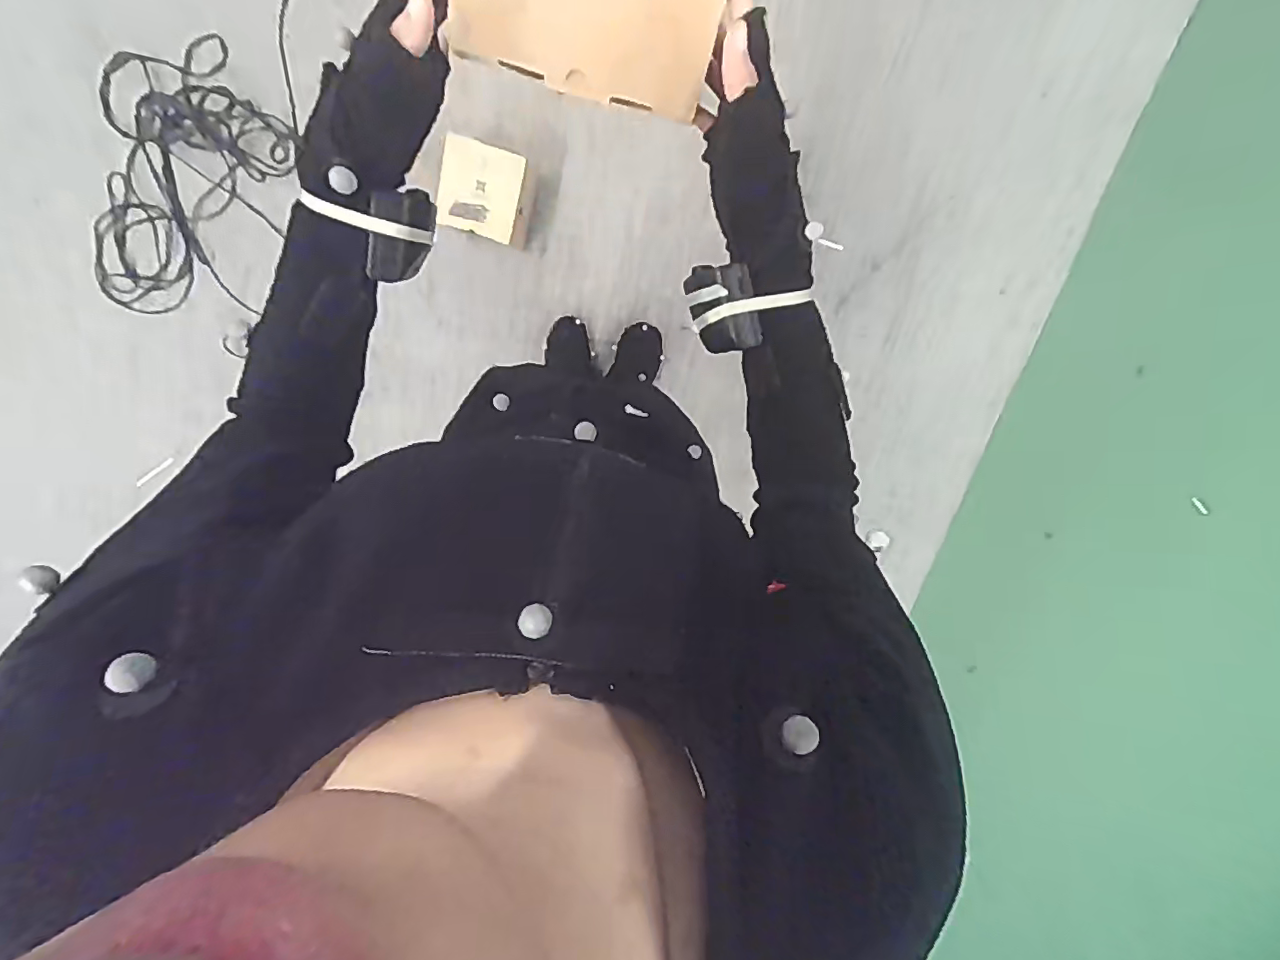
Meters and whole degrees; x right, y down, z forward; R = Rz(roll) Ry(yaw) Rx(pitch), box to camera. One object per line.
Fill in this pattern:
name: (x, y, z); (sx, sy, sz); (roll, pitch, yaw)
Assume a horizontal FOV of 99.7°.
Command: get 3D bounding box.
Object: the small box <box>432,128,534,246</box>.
small box: (-0.341, -0.636, 1.200); (0.168, 0.176, 0.179); (15, 107, -7)
